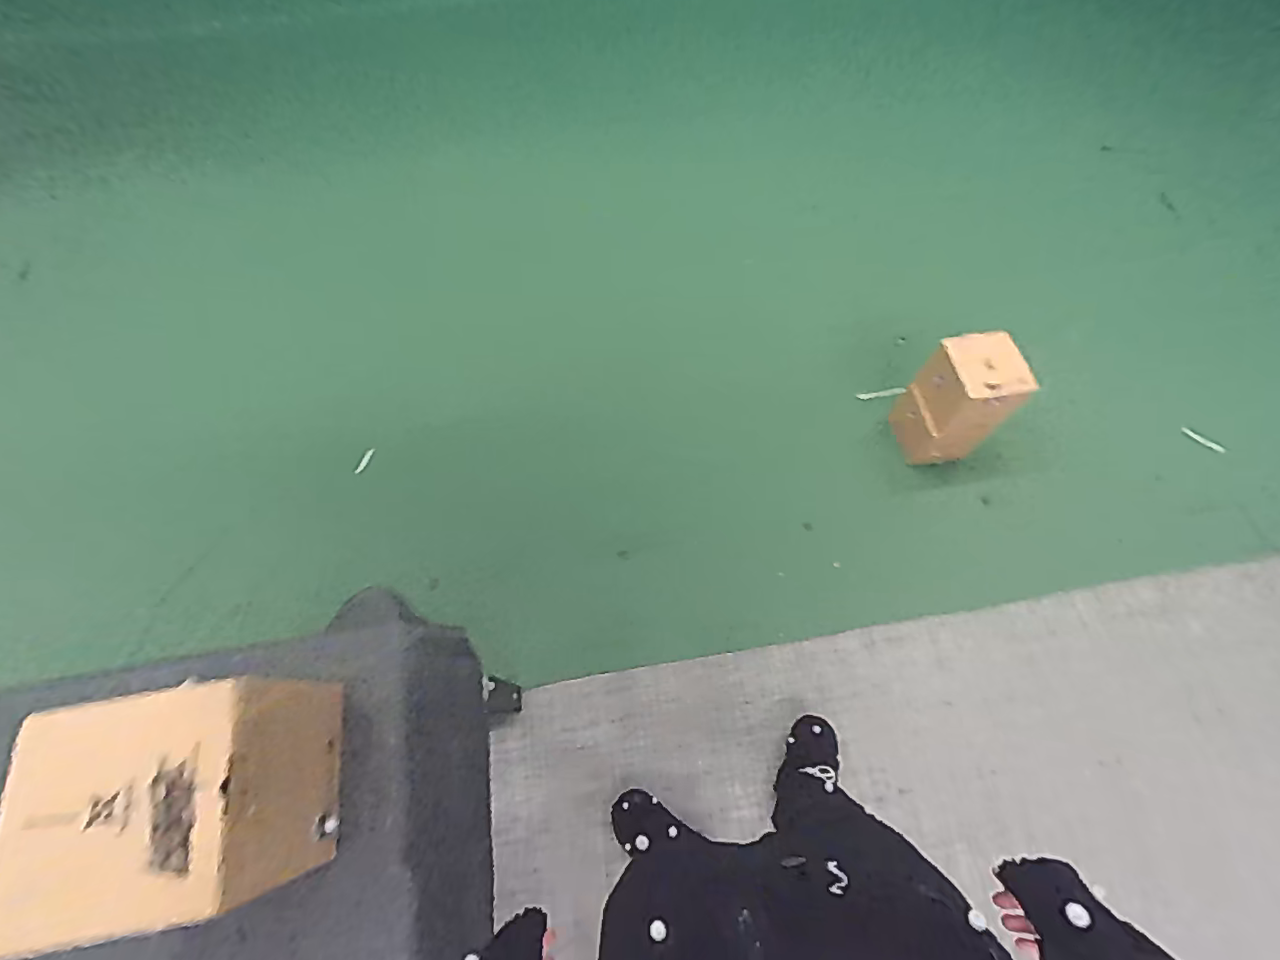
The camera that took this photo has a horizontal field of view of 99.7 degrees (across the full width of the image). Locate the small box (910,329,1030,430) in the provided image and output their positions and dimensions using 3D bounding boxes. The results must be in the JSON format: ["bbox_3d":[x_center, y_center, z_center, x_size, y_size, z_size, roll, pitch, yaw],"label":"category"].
[{"bbox_3d":[0.812,-0.248,1.356,0.168,0.176,0.179,-9,64,-2],"label":"small box"}]

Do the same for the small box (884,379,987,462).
[{"bbox_3d":[0.809,-0.172,1.501,0.168,0.176,0.179,-9,66,-2],"label":"small box"}]

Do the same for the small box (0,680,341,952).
[{"bbox_3d":[-0.402,0.284,0.495,0.179,0.176,0.168,-10,67,-2],"label":"small box"}]
